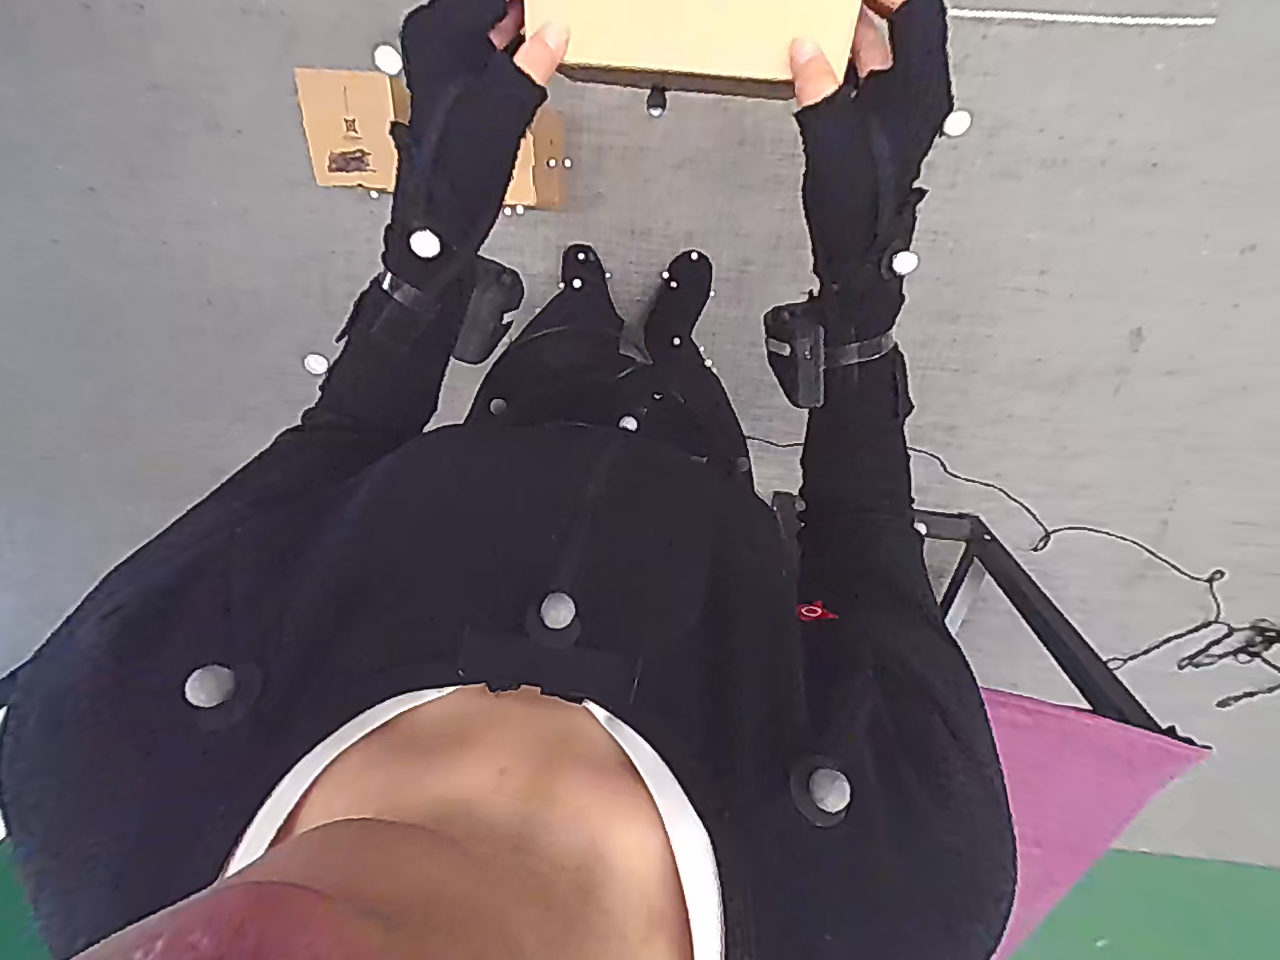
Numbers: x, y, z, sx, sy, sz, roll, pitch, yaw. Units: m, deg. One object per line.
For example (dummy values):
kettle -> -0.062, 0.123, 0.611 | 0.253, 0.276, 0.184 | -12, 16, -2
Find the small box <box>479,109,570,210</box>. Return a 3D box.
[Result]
small box -> -0.246, -0.673, 1.142 | 0.168, 0.176, 0.179 | 4, 117, 4

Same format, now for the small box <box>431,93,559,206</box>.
small box -> -0.256, -0.600, 0.996 | 0.179, 0.176, 0.168 | 3, 118, 4

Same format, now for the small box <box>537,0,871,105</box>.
small box -> 0.039, -0.322, 0.300 | 0.168, 0.176, 0.179 | 5, 124, 2
